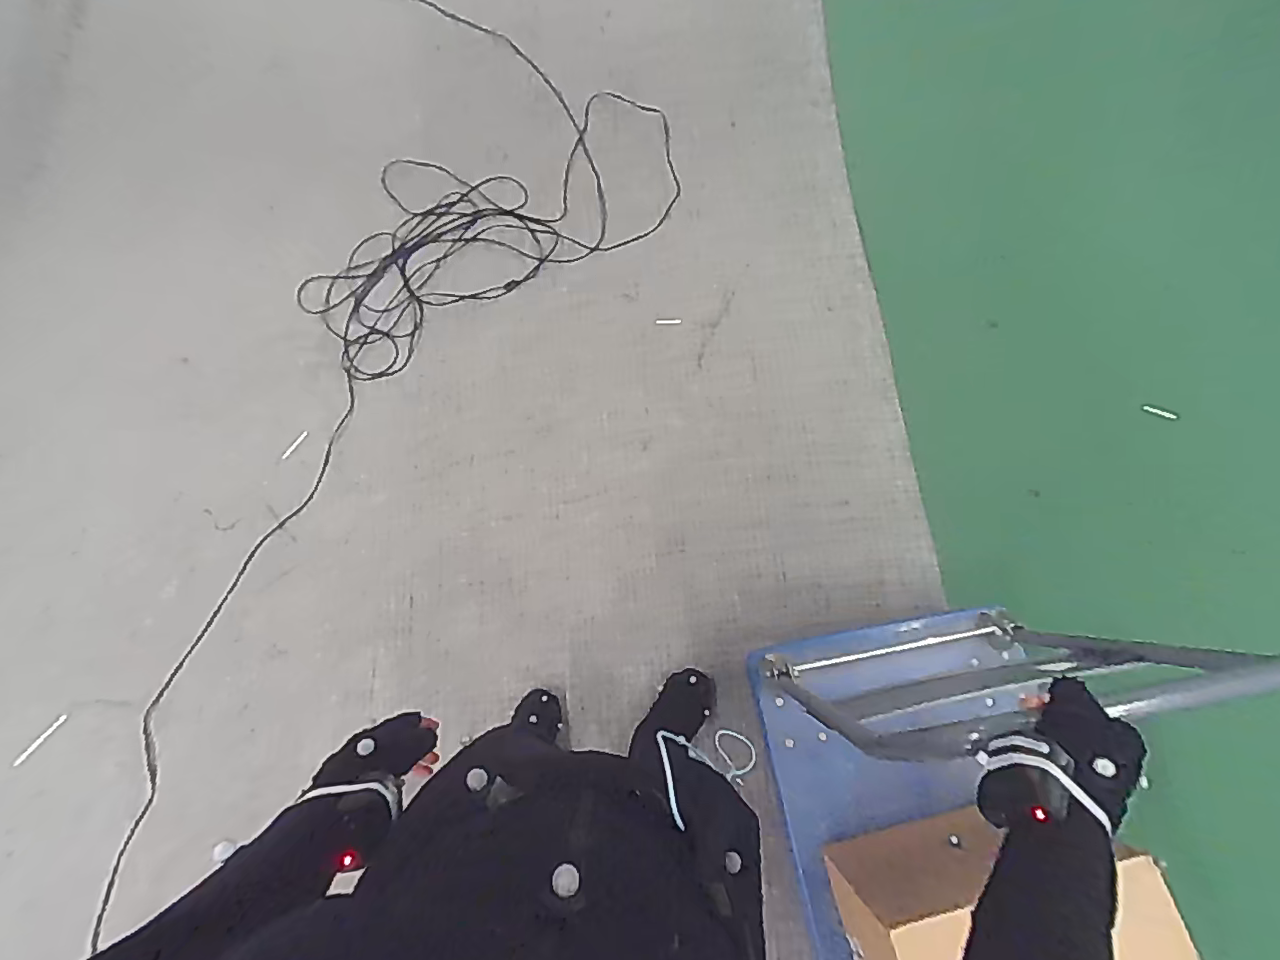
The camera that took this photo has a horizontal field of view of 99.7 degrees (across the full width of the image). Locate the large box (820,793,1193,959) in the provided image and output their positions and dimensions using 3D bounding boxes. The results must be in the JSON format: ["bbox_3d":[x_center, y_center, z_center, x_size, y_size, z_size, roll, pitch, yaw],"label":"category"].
[{"bbox_3d":[0.571,0.763,0.871,0.408,0.320,0.320,-14,75,-4],"label":"large box"}]
